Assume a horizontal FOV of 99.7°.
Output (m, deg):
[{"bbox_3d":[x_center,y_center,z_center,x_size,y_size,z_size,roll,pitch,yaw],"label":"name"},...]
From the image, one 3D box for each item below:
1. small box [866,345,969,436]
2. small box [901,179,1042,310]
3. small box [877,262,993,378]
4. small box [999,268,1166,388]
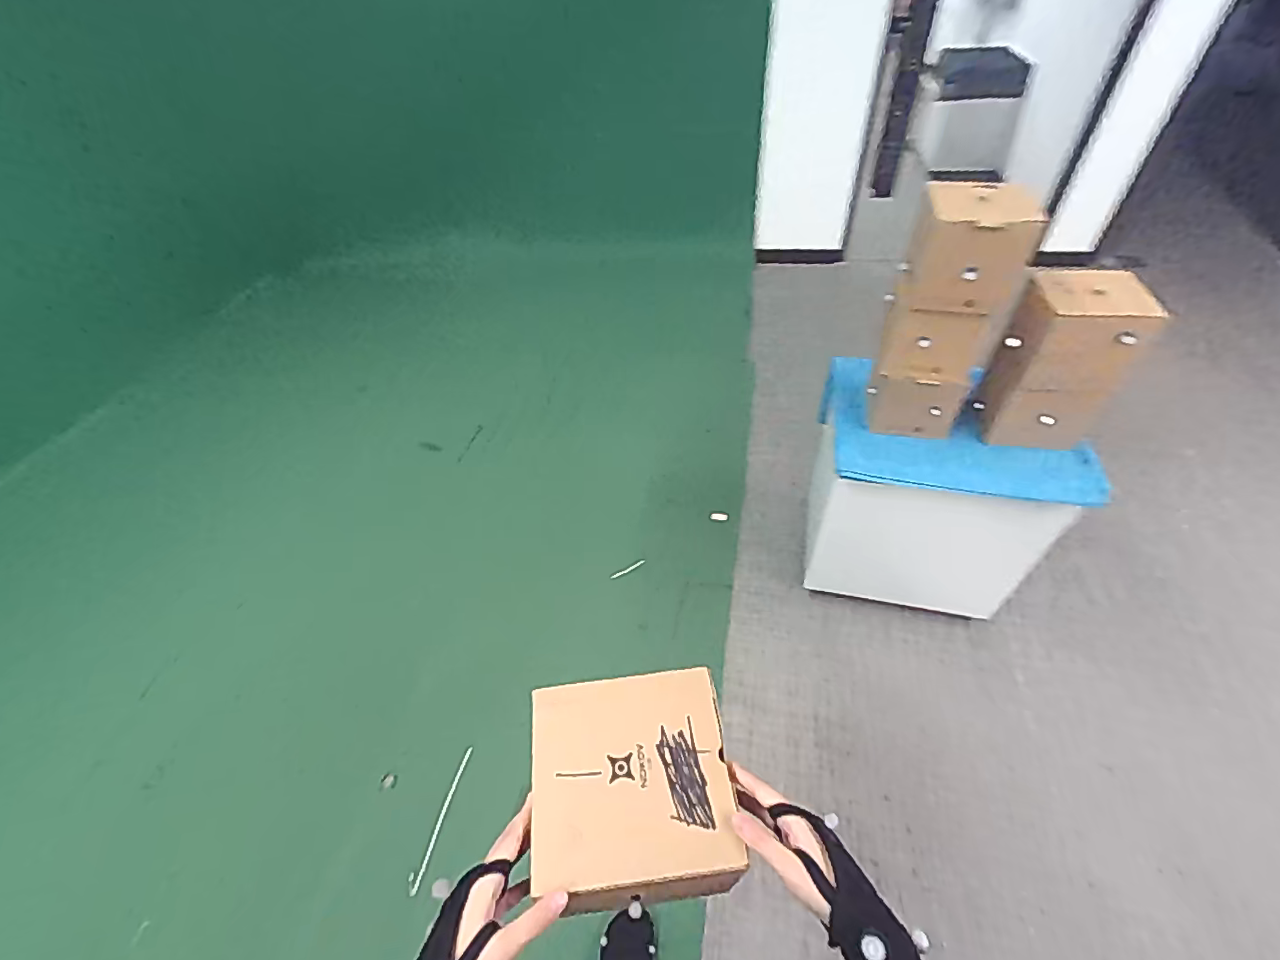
[{"bbox_3d":[0.624,-0.221,1.240,0.168,0.176,0.179,8,49,11],"label":"small box"},{"bbox_3d":[0.593,-0.432,0.993,0.168,0.176,0.179,9,49,12],"label":"small box"},{"bbox_3d":[0.601,-0.330,1.123,0.168,0.176,0.179,9,48,12],"label":"small box"},{"bbox_3d":[0.848,-0.296,1.060,0.179,0.176,0.168,4,48,11],"label":"small box"}]
